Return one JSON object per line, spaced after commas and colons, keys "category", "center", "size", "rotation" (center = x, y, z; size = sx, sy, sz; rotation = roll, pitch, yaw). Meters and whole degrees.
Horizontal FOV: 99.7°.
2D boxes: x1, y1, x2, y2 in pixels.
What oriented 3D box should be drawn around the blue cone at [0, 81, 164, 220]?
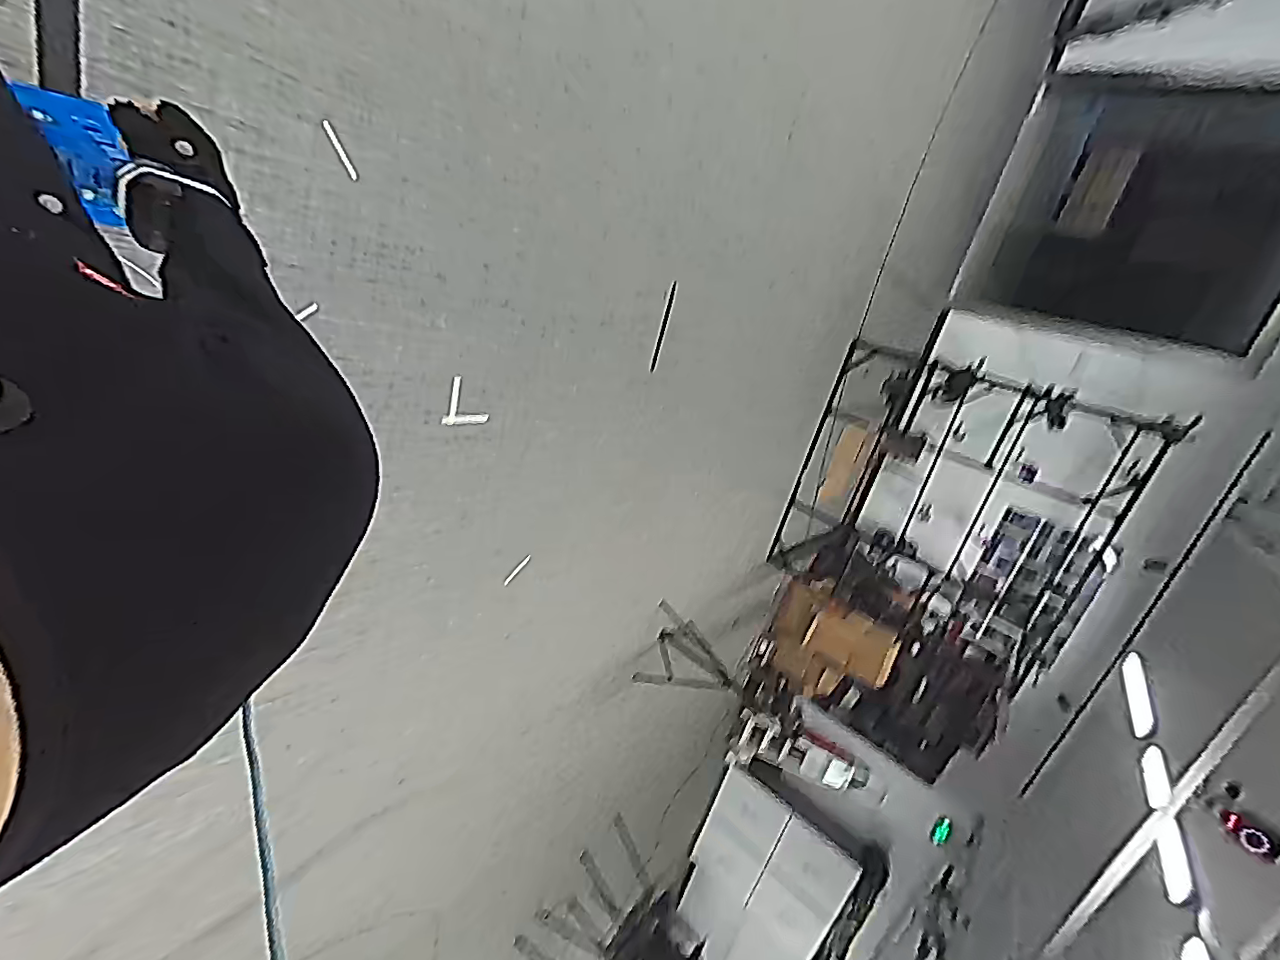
{"category": "blue cone", "center": [-0.863, -0.507, 0.875], "size": [0.192, 0.380, 0.193], "rotation": [-14, 125, -51]}
